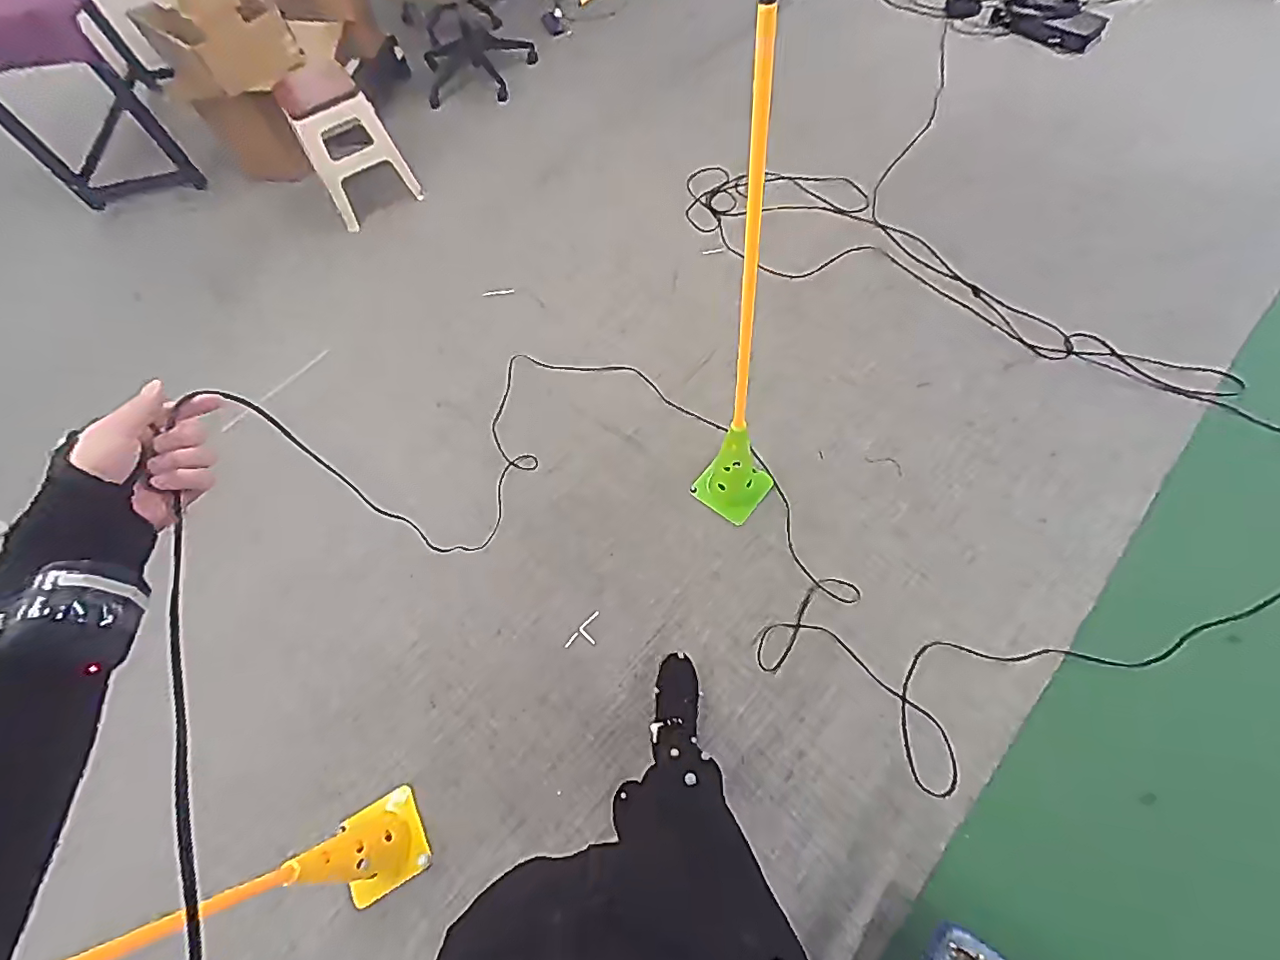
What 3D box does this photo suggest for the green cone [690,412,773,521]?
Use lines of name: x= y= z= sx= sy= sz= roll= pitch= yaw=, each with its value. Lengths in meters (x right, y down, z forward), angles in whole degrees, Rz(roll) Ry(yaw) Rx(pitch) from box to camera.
green cone: x=0.271 y=-0.069 z=1.528 sx=0.200 sy=0.368 sz=0.202 roll=34 pitch=70 yaw=20
